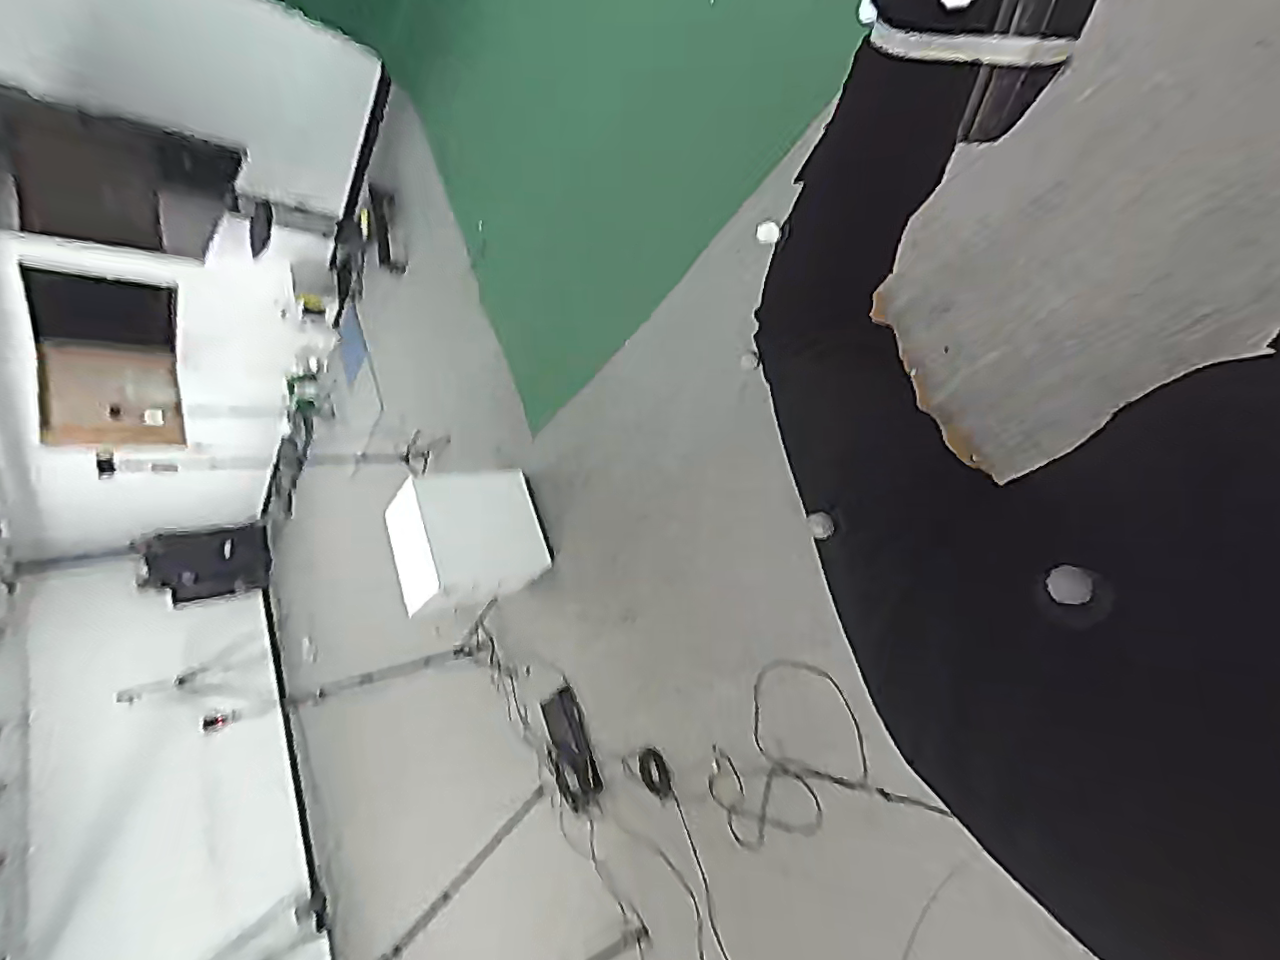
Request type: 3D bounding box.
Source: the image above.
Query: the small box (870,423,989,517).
[{"bbox_3d":[0.711,-0.023,1.324,0.179,0.176,0.168,-40,65,39],"label":"small box"}]
